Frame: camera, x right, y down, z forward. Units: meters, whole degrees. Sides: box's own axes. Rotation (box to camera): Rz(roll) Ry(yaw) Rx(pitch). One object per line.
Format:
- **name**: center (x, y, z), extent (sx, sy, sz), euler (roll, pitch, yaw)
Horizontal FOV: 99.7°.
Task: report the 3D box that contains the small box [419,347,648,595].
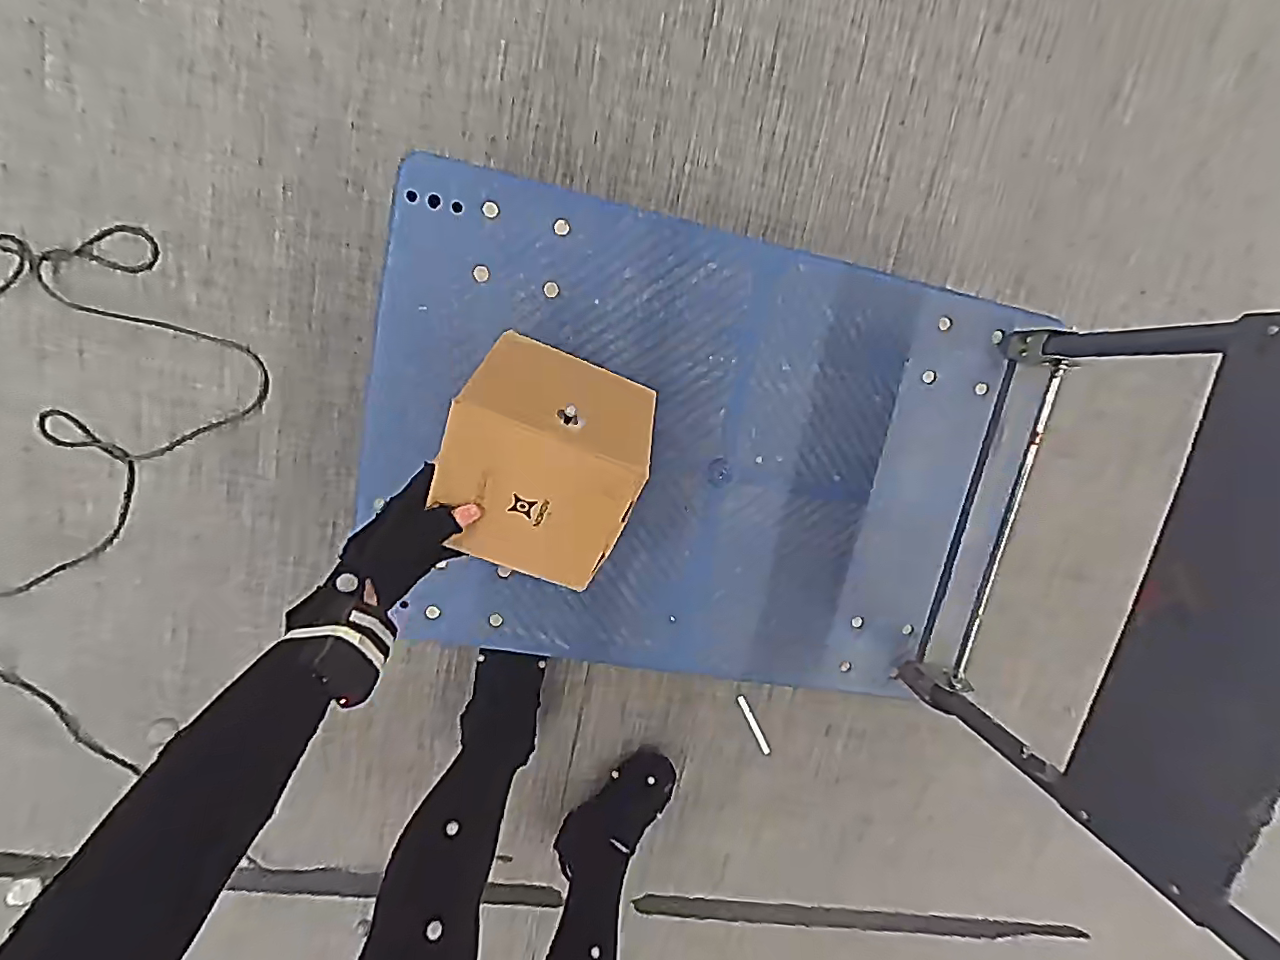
- **small box**: center (-0.101, -0.015, 0.568), extent (0.179, 0.176, 0.168), euler (23, 124, -10)
